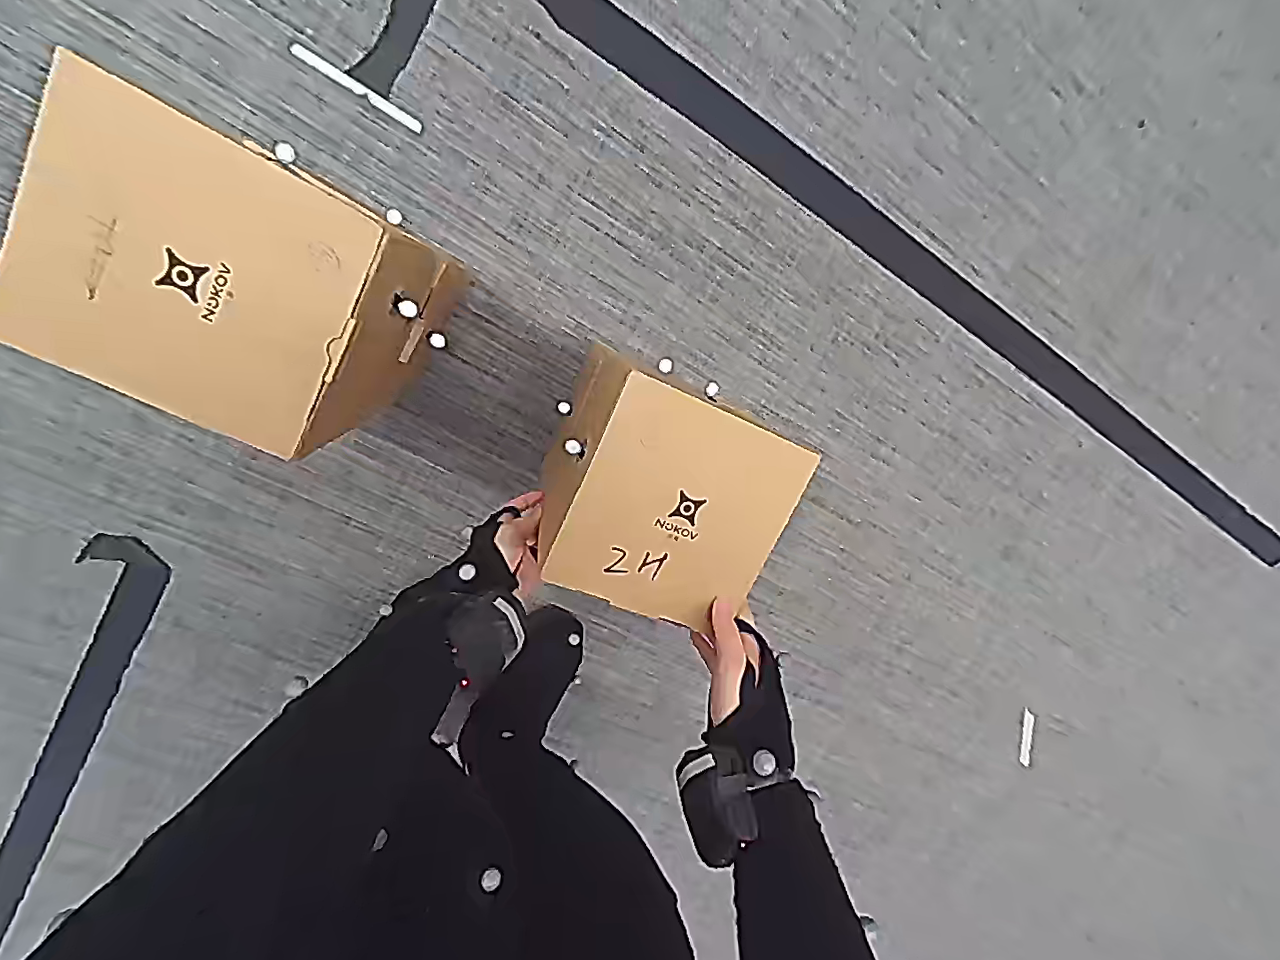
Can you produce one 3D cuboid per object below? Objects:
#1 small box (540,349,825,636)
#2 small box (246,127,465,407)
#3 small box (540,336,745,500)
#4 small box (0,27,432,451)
[{"bbox_3d":[0.020,-0.002,0.476,0.168,0.176,0.179,23,103,-15],"label":"small box"},{"bbox_3d":[-0.294,-0.198,0.536,0.179,0.176,0.168,28,101,-17],"label":"small box"},{"bbox_3d":[-0.007,-0.052,0.630,0.168,0.176,0.179,21,102,-15],"label":"small box"},{"bbox_3d":[-0.271,-0.147,0.382,0.179,0.176,0.168,27,101,-16],"label":"small box"}]
